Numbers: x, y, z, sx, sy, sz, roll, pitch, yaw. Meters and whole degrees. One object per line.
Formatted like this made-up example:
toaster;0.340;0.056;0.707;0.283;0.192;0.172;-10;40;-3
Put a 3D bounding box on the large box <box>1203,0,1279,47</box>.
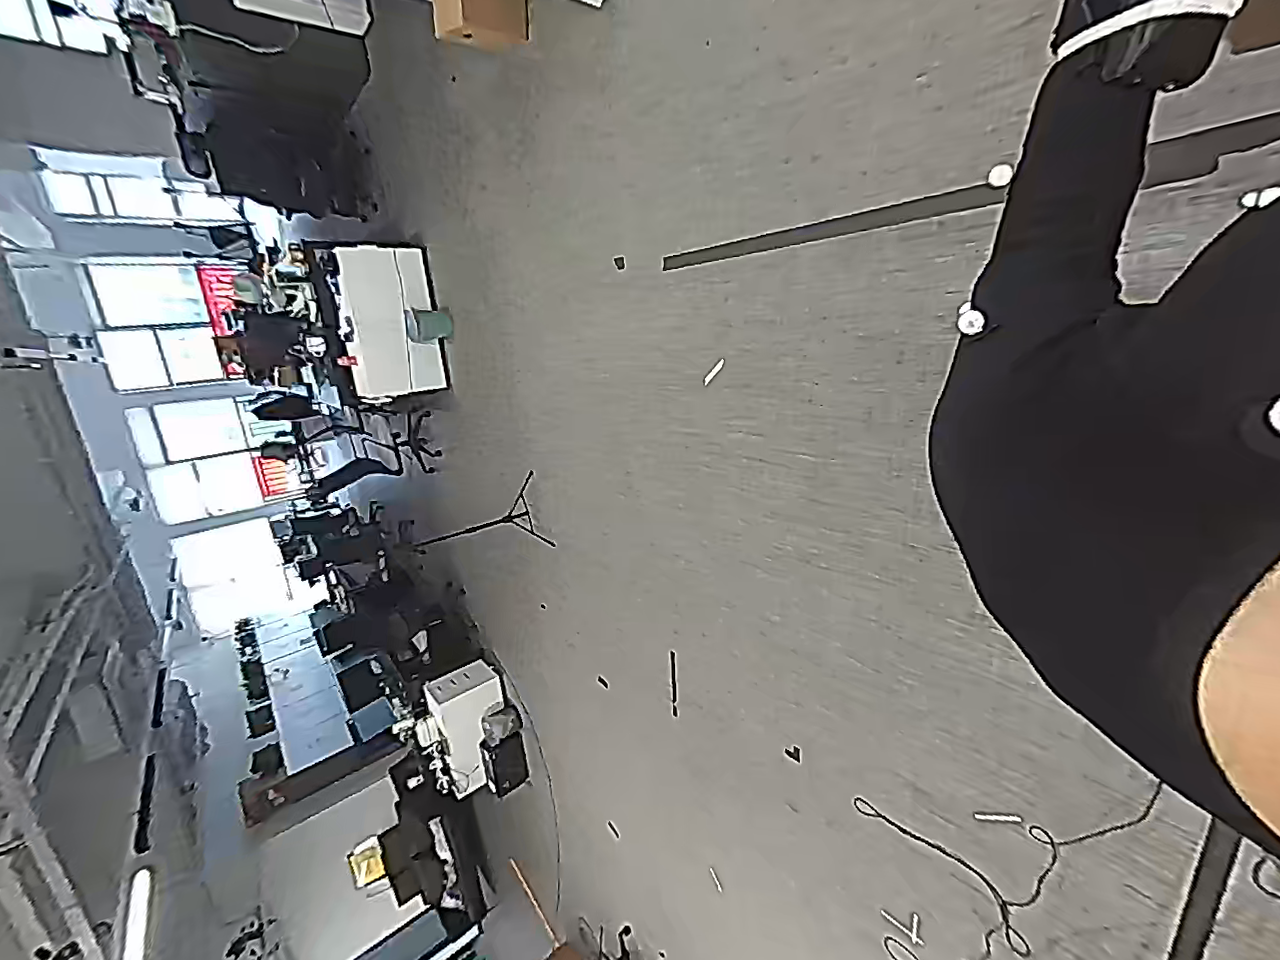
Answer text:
large box;0.577;-0.482;0.249;0.408;0.320;0.320;15;121;46
